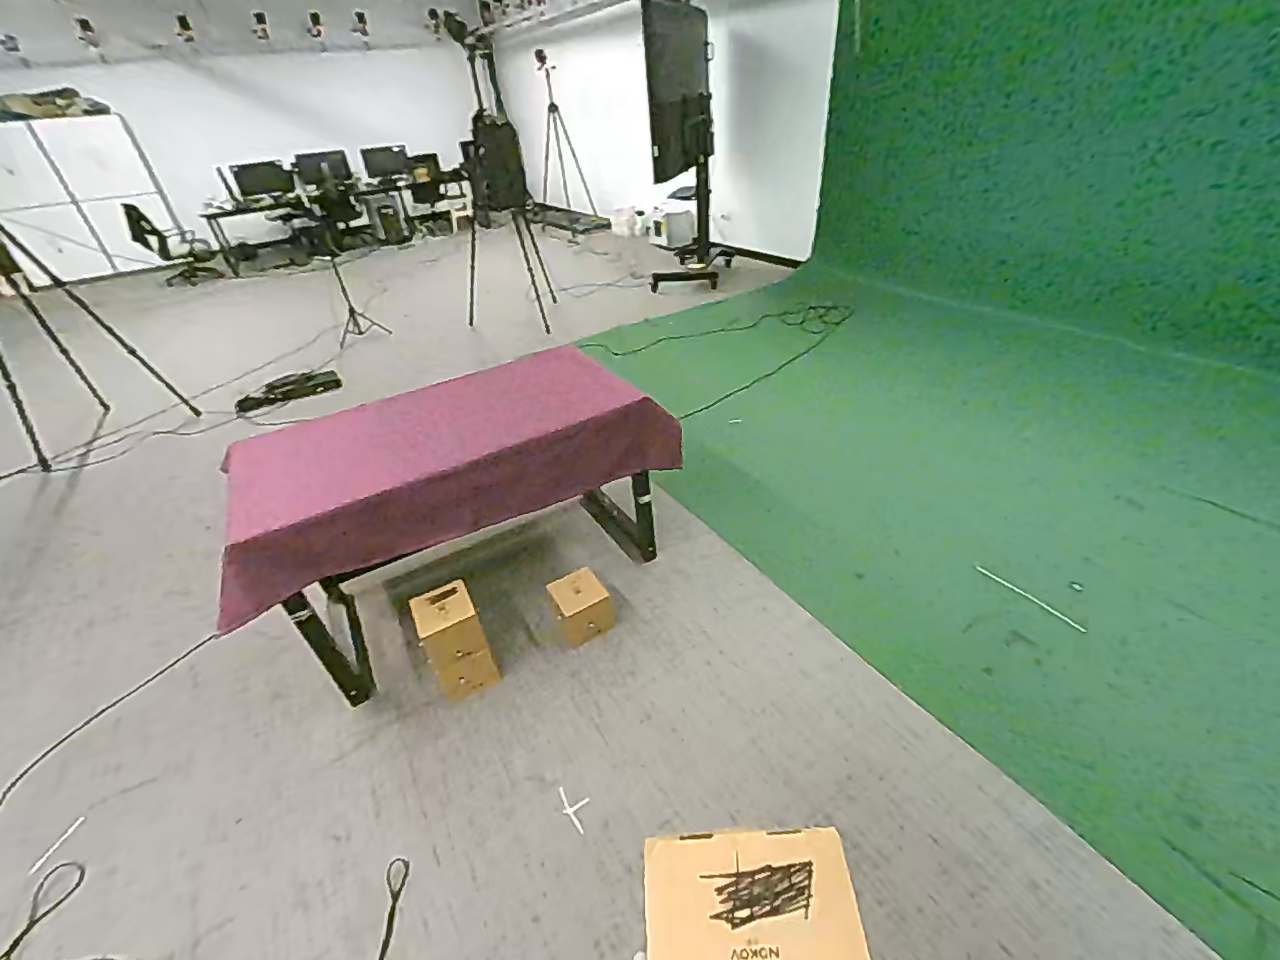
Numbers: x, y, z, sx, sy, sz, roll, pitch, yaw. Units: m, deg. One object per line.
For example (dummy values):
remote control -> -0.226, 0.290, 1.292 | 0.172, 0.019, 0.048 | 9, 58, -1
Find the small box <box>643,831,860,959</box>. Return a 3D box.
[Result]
small box -> 0.091, 0.423, 0.462 | 0.168, 0.176, 0.179 | -5, 47, 3
